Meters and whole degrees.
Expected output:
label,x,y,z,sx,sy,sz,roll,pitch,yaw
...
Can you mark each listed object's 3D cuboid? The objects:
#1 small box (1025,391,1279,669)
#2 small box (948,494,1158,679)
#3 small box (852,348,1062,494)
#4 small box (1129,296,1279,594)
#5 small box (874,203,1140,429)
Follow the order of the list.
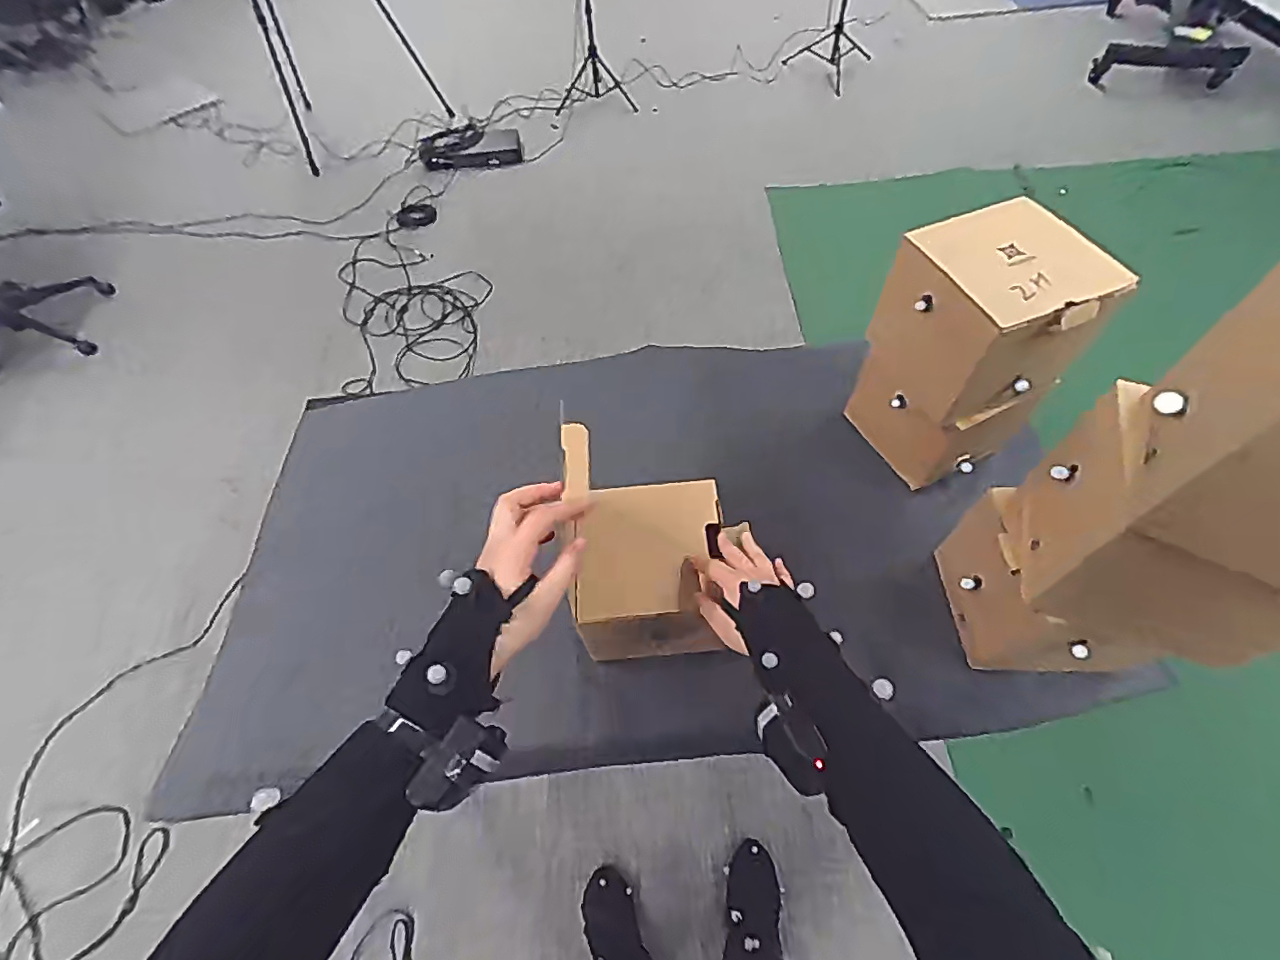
label,x,y,z,sx,sy,sz,roll,pitch,yaw
small box,0.487,0.051,0.495,0.179,0.176,0.168,18,58,15
small box,0.493,0.130,0.638,0.179,0.176,0.168,-1,55,4
small box,0.444,-0.110,0.796,0.168,0.176,0.179,-25,62,-9
small box,0.478,-0.023,0.346,0.179,0.176,0.168,26,60,21
small box,0.415,-0.193,0.655,0.168,0.176,0.179,-19,60,-5
